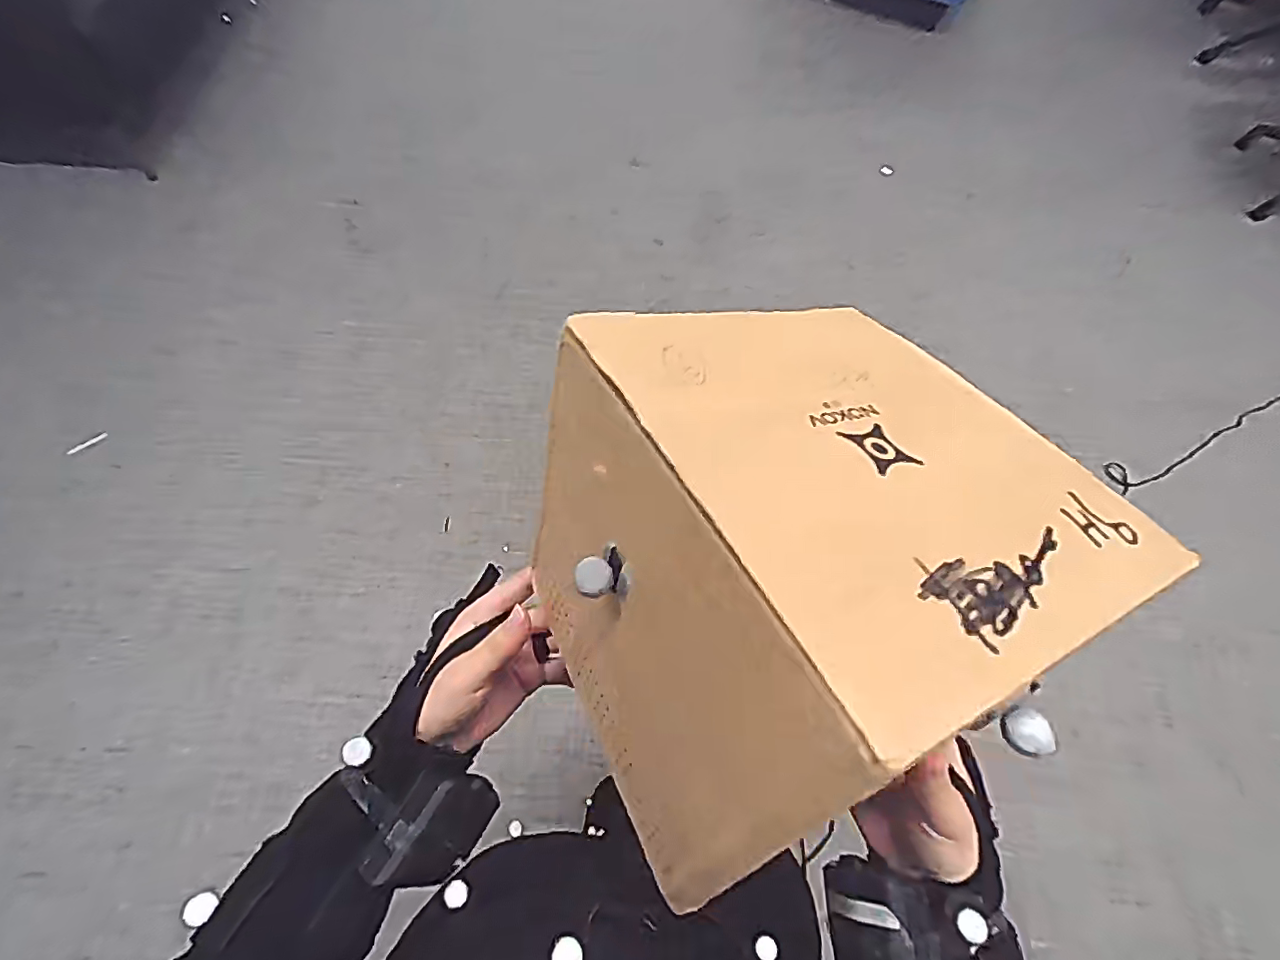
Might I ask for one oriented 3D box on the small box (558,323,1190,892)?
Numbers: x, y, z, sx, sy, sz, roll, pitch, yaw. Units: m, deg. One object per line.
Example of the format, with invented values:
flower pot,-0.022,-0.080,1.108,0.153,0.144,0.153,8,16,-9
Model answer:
small box,0.070,0.046,0.256,0.168,0.176,0.179,-13,49,-28
